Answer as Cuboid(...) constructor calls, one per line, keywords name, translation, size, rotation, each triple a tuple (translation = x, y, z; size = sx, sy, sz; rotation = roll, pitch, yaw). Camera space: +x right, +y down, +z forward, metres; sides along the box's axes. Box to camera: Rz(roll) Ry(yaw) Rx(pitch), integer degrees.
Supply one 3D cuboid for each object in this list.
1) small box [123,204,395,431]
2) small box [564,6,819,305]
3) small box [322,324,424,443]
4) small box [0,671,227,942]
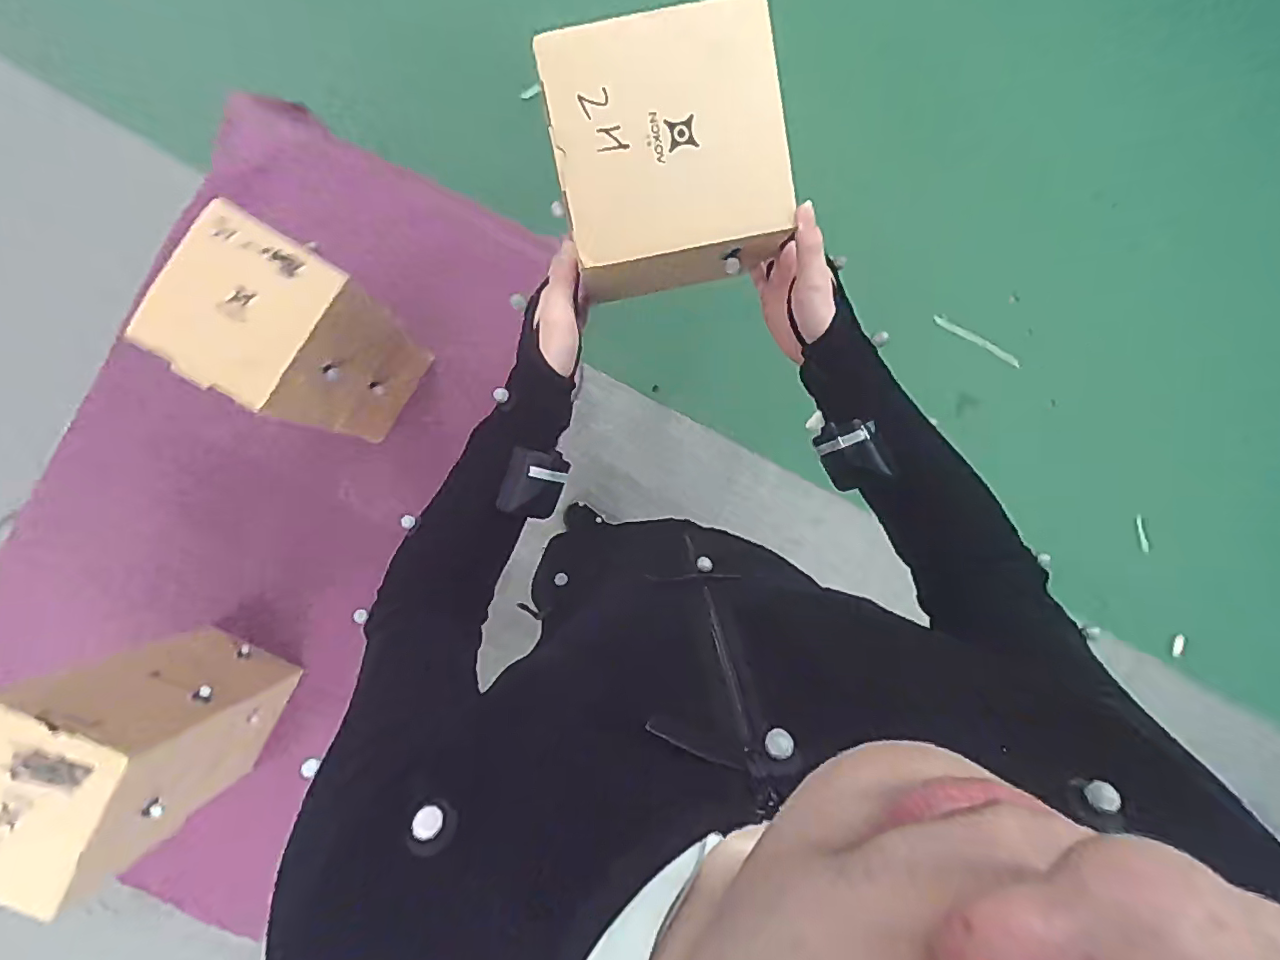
Cuboid(name="small box", translation=(-0.428, -0.174, 0.645), size=(0.168, 0.176, 0.179), rotation=(31, 87, -3))
Cuboid(name="small box", translation=(0.037, -0.264, 0.483), size=(0.179, 0.176, 0.168), rotation=(-10, 99, -1))
Cuboid(name="small box", translation=(-0.450, -0.173, 0.808), size=(0.168, 0.176, 0.179), rotation=(30, 87, -3))
Cuboid(name="small box", translation=(-0.616, 0.339, 0.602), size=(0.168, 0.176, 0.179), rotation=(23, 86, -3))
